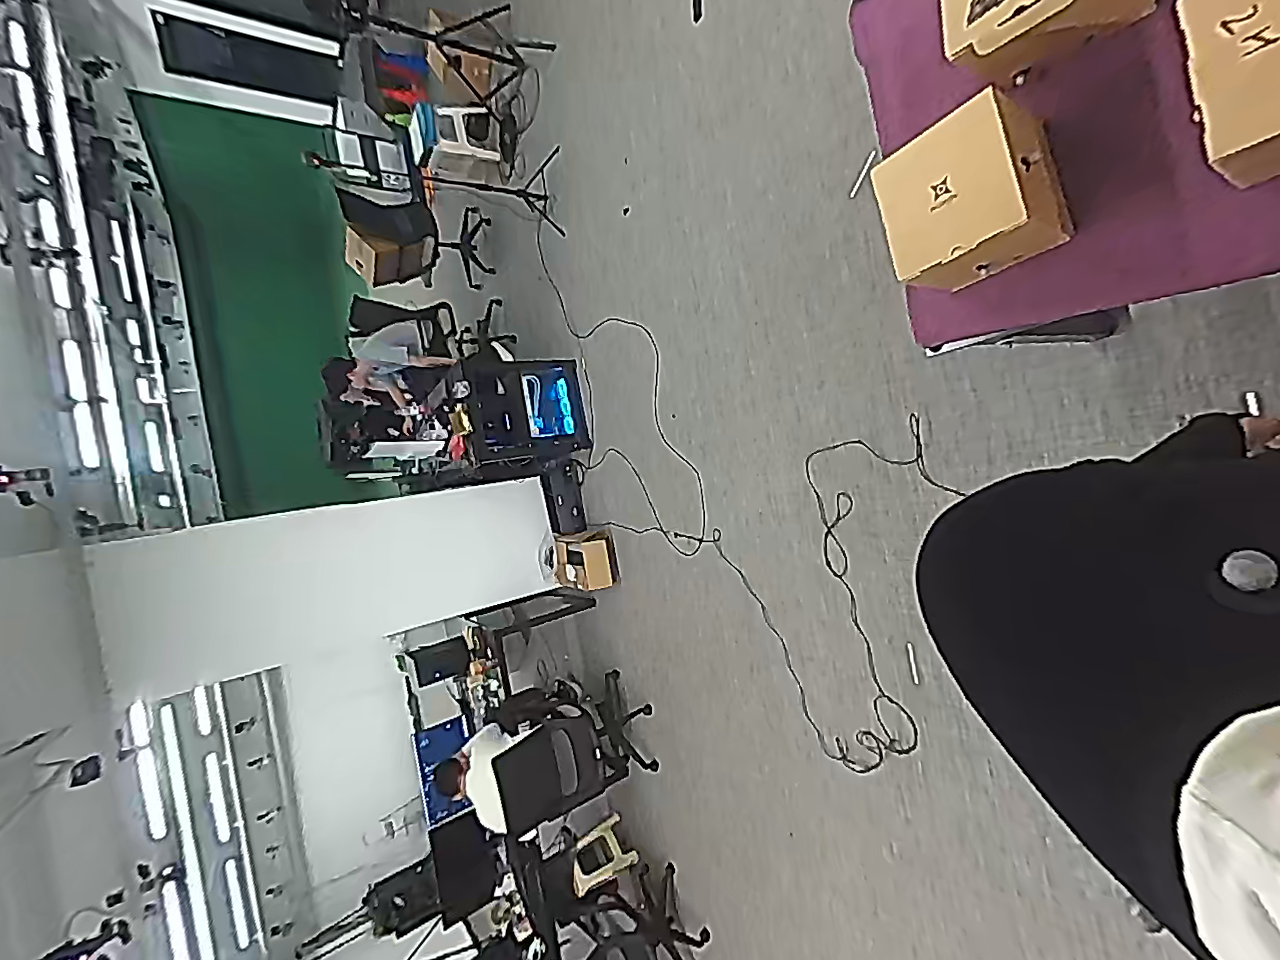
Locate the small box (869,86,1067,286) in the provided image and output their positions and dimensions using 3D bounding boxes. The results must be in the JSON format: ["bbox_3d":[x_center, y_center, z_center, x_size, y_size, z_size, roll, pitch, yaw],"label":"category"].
[{"bbox_3d":[0.457,-0.390,0.757,0.168,0.176,0.179,-18,85,54],"label":"small box"}]

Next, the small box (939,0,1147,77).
[{"bbox_3d":[0.485,-0.629,0.654,0.168,0.176,0.179,-1,98,55],"label":"small box"}]

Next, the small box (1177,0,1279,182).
[{"bbox_3d":[0.639,-0.404,0.490,0.179,0.176,0.168,-11,90,56],"label":"small box"}]
